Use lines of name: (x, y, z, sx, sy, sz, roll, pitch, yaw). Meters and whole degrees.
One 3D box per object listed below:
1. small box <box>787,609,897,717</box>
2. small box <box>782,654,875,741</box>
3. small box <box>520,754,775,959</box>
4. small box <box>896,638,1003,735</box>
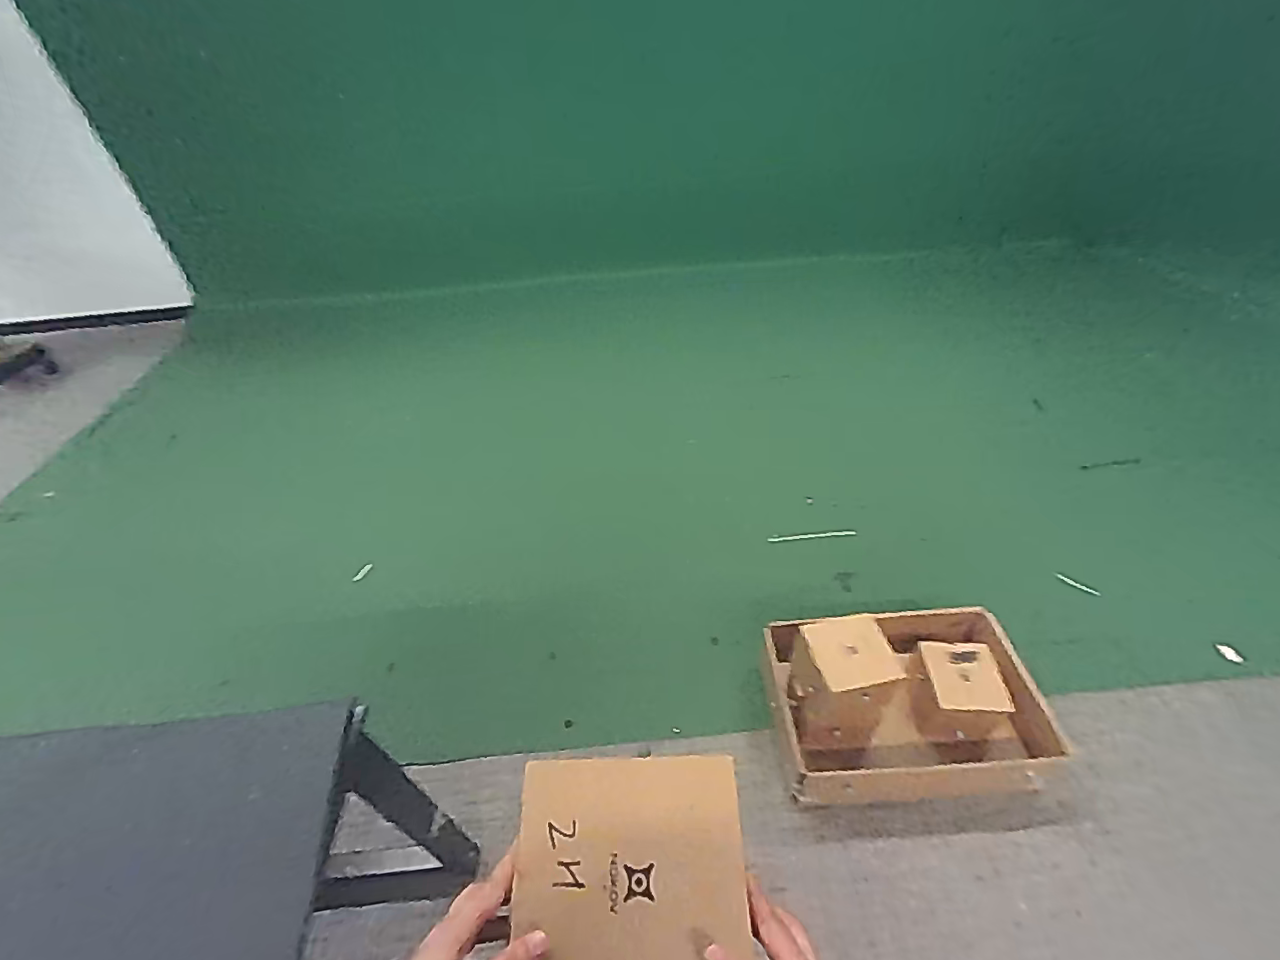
small box: (0.457, 0.430, 1.262, 0.179, 0.176, 0.168, -8, 45, -9)
small box: (0.467, 0.549, 1.375, 0.179, 0.176, 0.168, -3, 44, 1)
small box: (0.010, 0.337, 0.457, 0.179, 0.176, 0.168, -2, 53, 4)
small box: (0.777, 0.526, 1.382, 0.168, 0.176, 0.179, 0, 45, 5)
